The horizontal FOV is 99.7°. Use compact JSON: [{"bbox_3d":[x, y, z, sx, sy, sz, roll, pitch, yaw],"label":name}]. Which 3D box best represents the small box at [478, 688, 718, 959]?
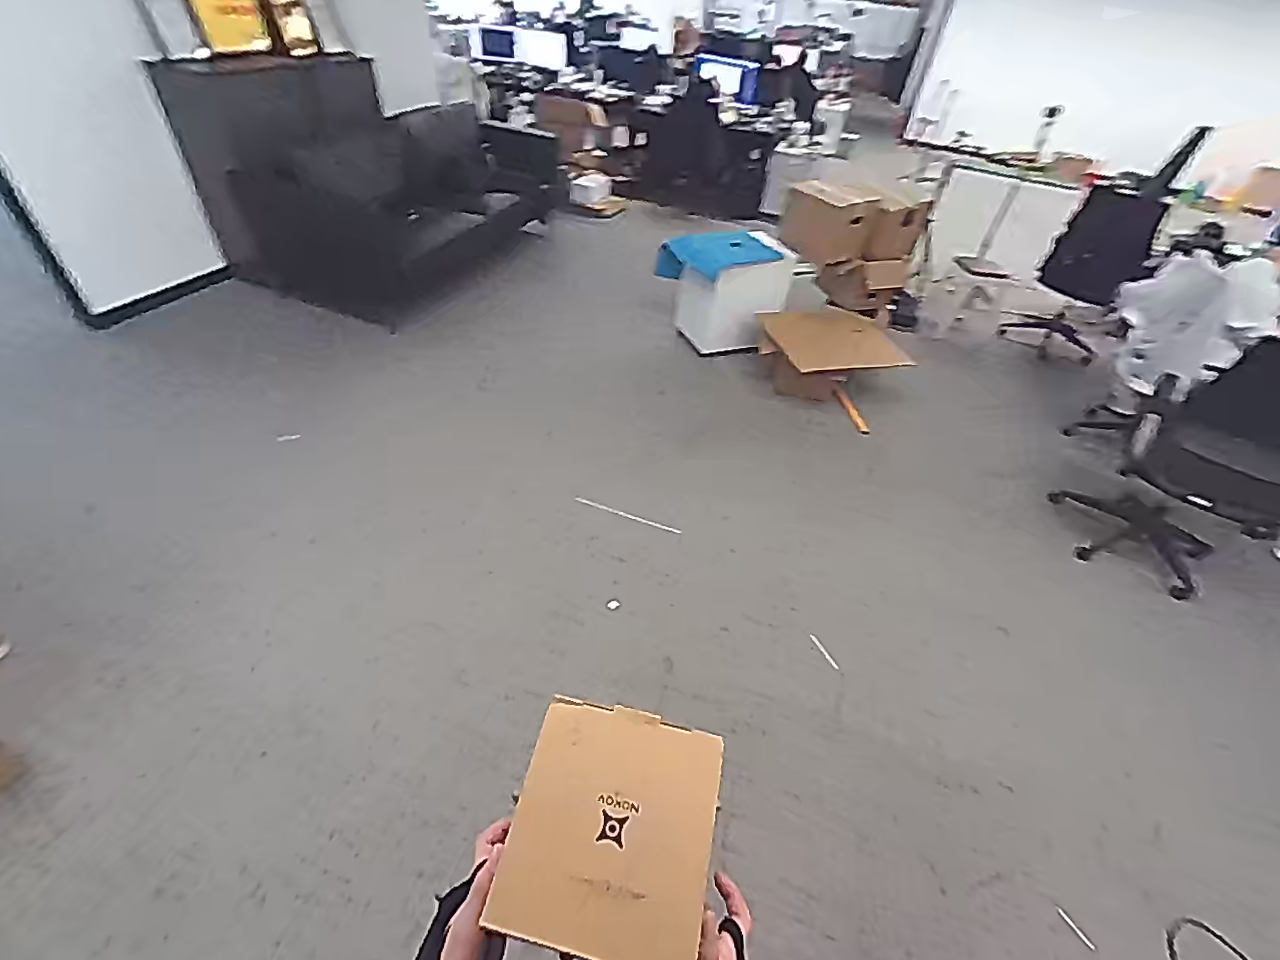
[{"bbox_3d":[-0.029,0.325,0.512,0.168,0.176,0.179,11,54,7],"label":"small box"}]
